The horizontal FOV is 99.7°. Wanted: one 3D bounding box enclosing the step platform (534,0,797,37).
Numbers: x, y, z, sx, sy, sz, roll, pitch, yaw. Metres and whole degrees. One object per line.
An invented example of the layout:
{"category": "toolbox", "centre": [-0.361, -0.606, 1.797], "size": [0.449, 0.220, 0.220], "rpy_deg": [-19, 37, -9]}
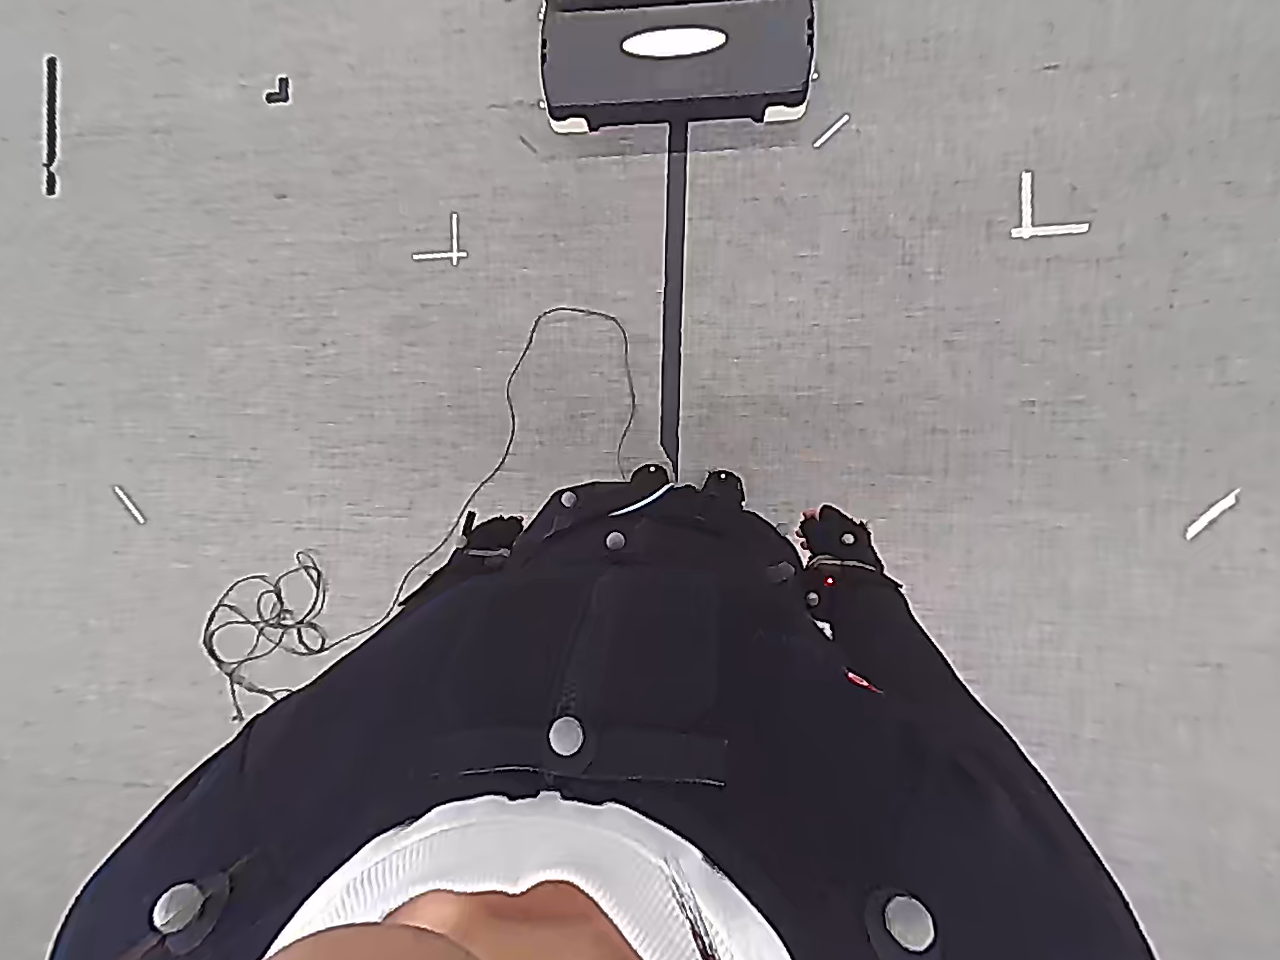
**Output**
{"category": "step platform", "centre": [0.061, -1.316, 1.308], "size": [0.684, 0.204, 0.286], "rpy_deg": [0, 92, 5]}
